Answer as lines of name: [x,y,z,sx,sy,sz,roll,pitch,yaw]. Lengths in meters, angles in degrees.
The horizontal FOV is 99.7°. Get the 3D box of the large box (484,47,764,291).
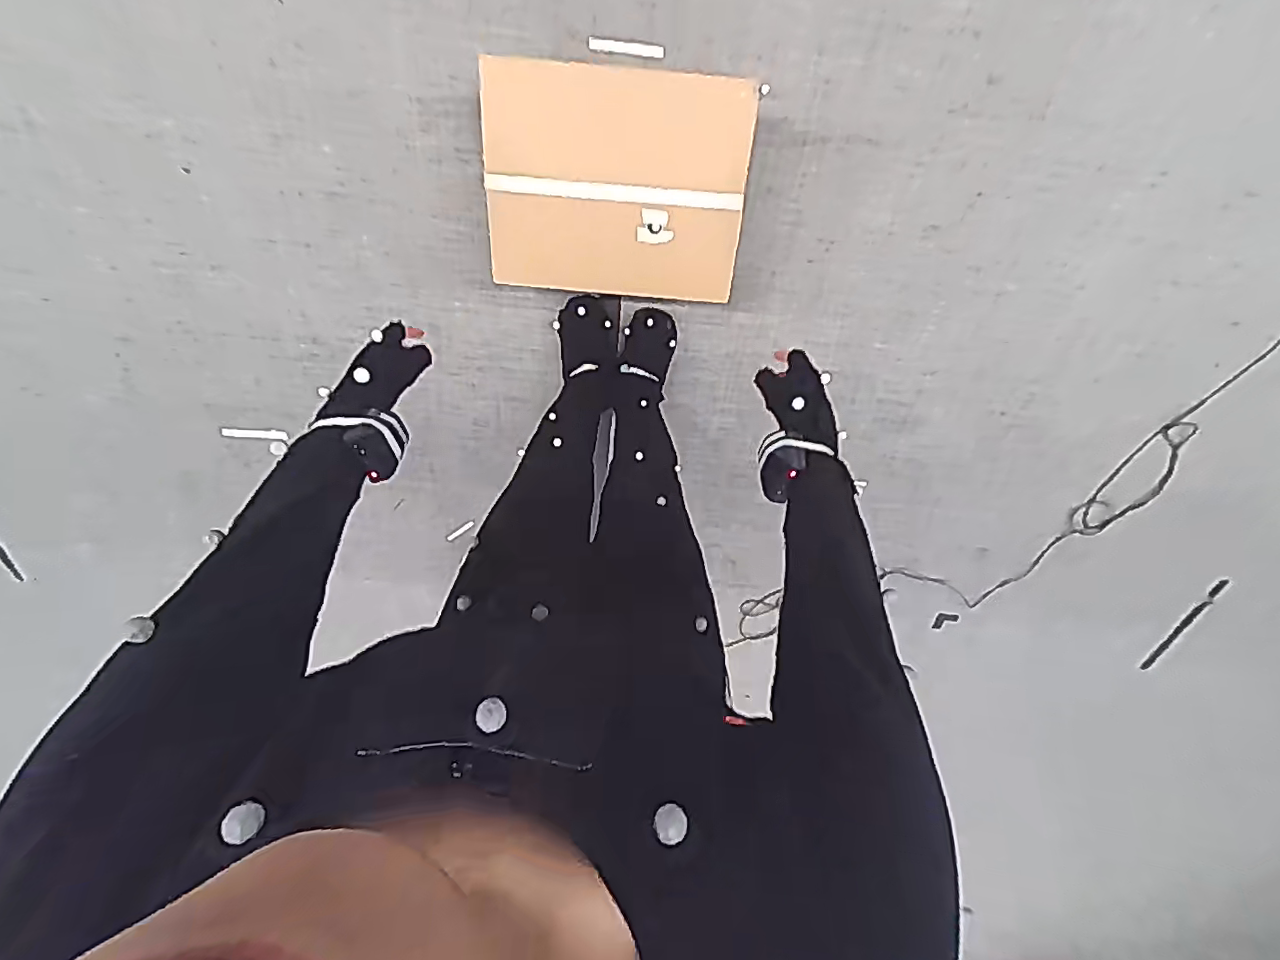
large box: [-0.030,-0.540,0.963,0.408,0.320,0.320,4,123,-2]
